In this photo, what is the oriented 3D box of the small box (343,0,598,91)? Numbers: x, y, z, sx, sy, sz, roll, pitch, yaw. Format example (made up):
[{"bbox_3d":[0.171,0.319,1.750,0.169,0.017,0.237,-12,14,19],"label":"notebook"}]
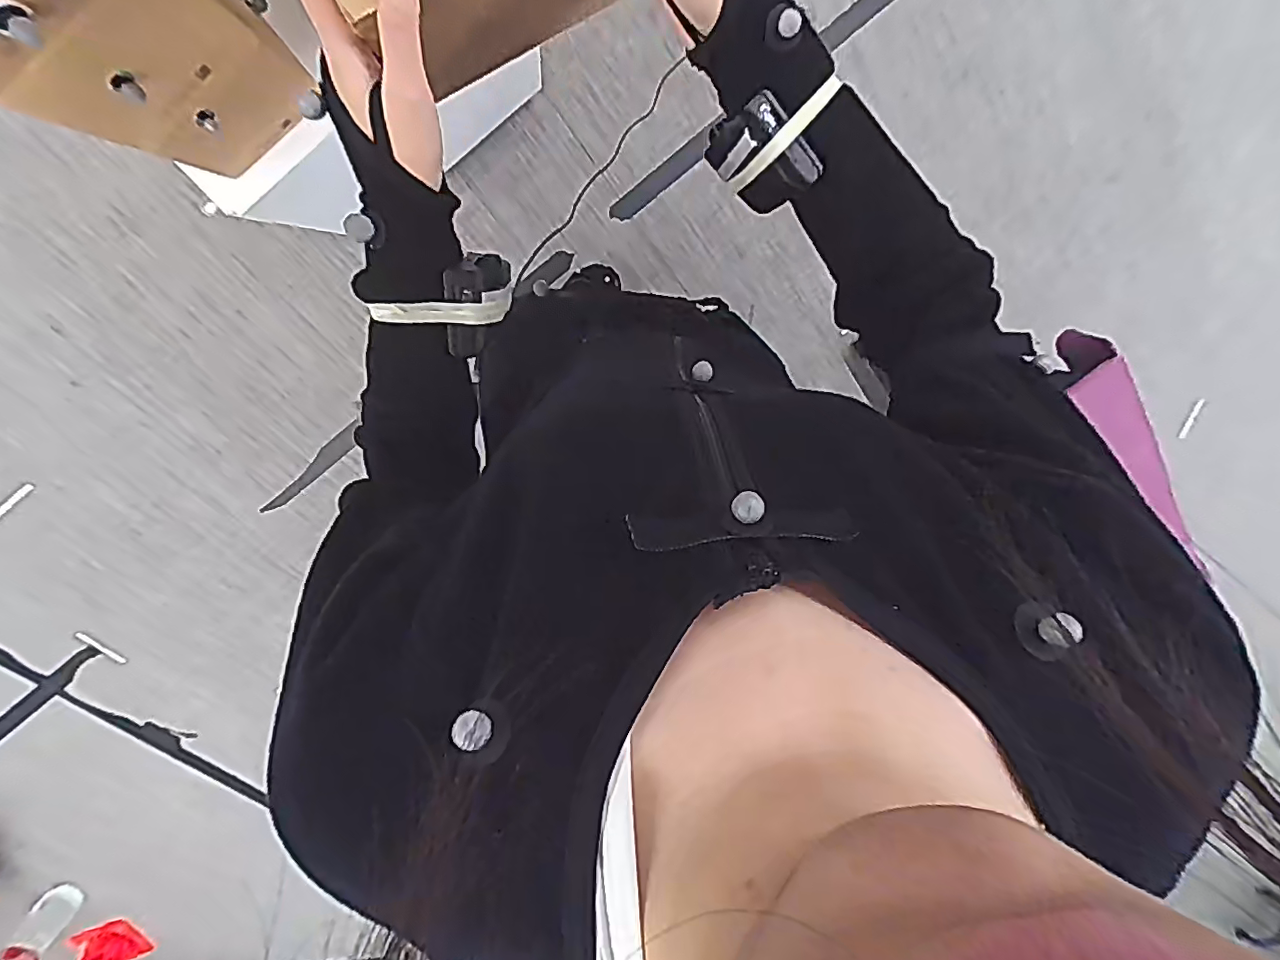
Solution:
[{"bbox_3d":[-0.111,-0.365,0.305,0.179,0.176,0.168,-27,114,4],"label":"small box"}]

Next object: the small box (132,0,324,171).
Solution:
[{"bbox_3d":[-0.488,-0.467,0.573,0.168,0.176,0.179,-37,111,6],"label":"small box"}]

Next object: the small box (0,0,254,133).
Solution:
[{"bbox_3d":[-0.462,-0.409,0.423,0.168,0.176,0.179,-39,111,7],"label":"small box"}]
